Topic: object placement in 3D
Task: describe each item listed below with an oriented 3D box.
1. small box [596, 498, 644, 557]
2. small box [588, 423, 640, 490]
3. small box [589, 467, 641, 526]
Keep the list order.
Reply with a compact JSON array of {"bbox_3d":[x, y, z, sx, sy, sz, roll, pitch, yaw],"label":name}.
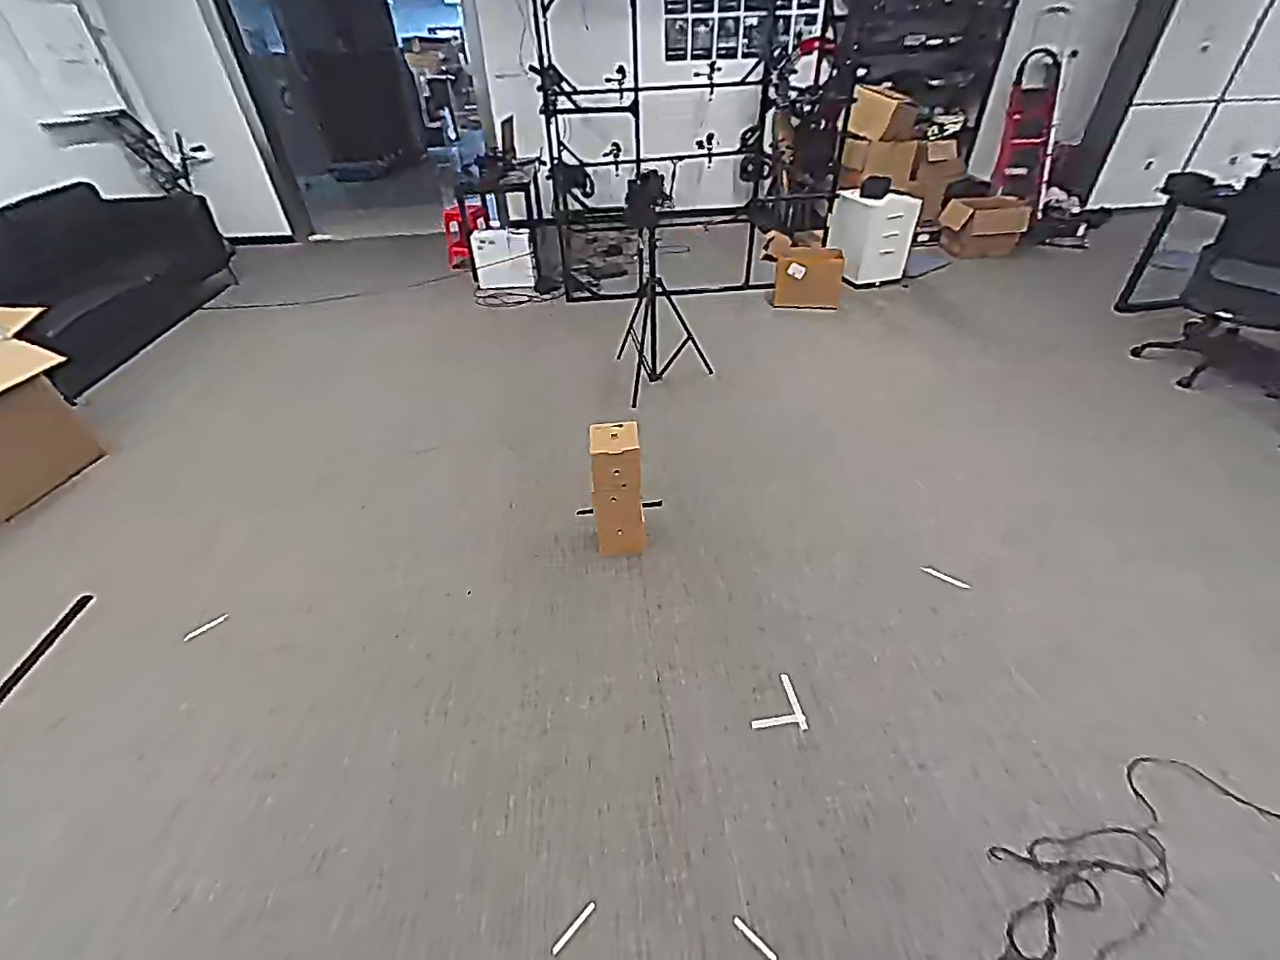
[{"bbox_3d":[-0.080,0.179,2.090,0.179,0.176,0.168,-6,39,-4],"label":"small box"},{"bbox_3d":[-0.090,-0.077,1.884,0.168,0.176,0.179,-5,40,-2],"label":"small box"},{"bbox_3d":[-0.092,0.053,1.984,0.179,0.176,0.168,-4,40,-2],"label":"small box"}]
